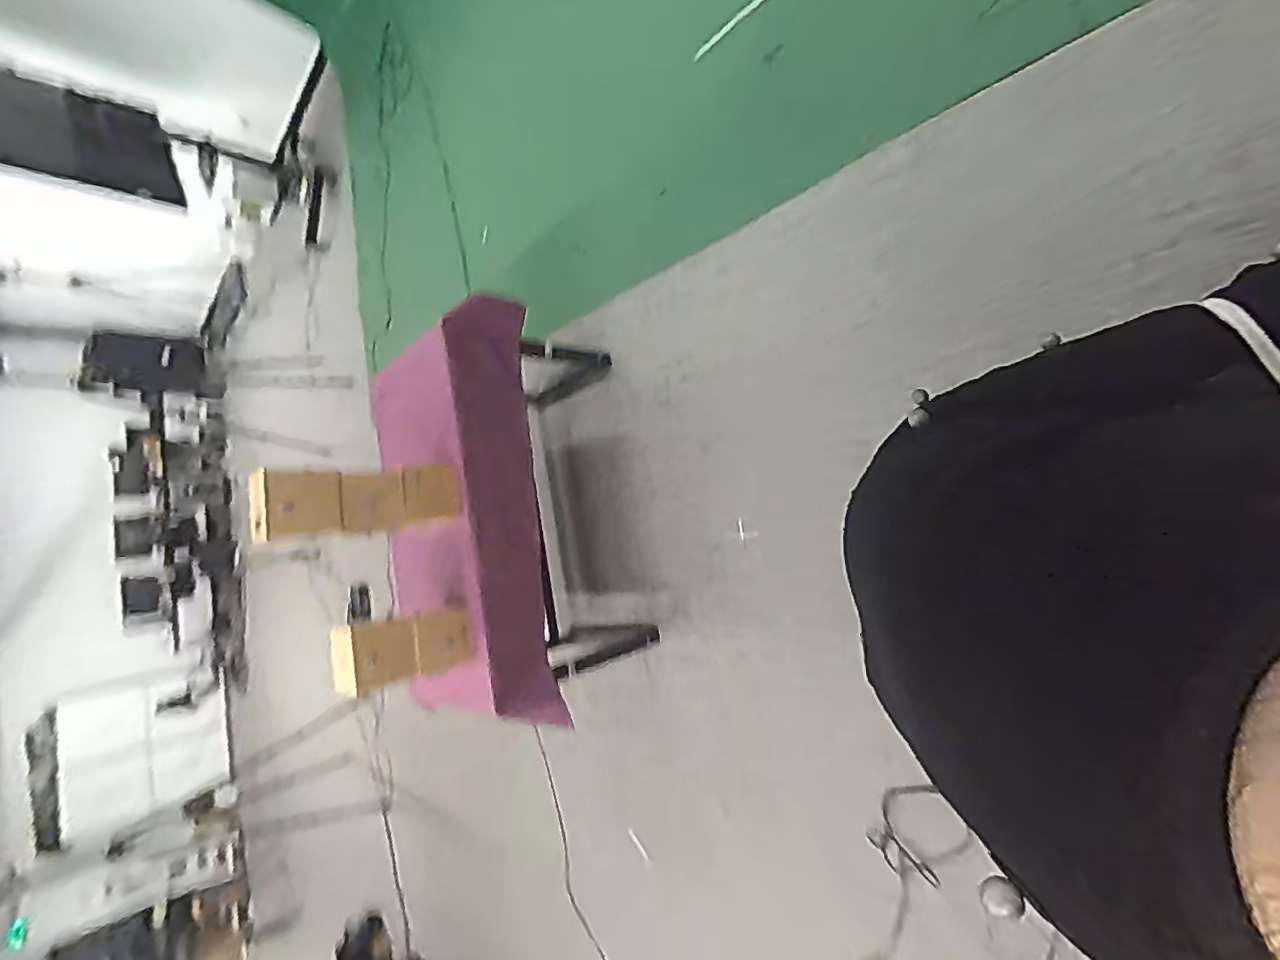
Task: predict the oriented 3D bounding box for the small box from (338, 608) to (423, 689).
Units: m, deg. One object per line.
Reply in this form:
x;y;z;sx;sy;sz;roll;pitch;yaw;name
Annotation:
-0.723;0.465;1.516;0.168;0.176;0.179;-13;83;43;small box

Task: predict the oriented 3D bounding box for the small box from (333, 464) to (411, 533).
-0.763;0.053;1.531;0.168;0.176;0.179;-8;87;44;small box

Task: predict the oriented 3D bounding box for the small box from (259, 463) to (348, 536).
-0.879;0.050;1.413;0.168;0.176;0.179;-8;86;45;small box

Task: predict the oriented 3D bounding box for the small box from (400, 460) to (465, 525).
-0.648;0.039;1.649;0.168;0.176;0.179;-13;83;44;small box

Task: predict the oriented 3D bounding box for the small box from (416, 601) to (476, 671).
-0.607;0.464;1.631;0.179;0.176;0.168;-11;84;44;small box
